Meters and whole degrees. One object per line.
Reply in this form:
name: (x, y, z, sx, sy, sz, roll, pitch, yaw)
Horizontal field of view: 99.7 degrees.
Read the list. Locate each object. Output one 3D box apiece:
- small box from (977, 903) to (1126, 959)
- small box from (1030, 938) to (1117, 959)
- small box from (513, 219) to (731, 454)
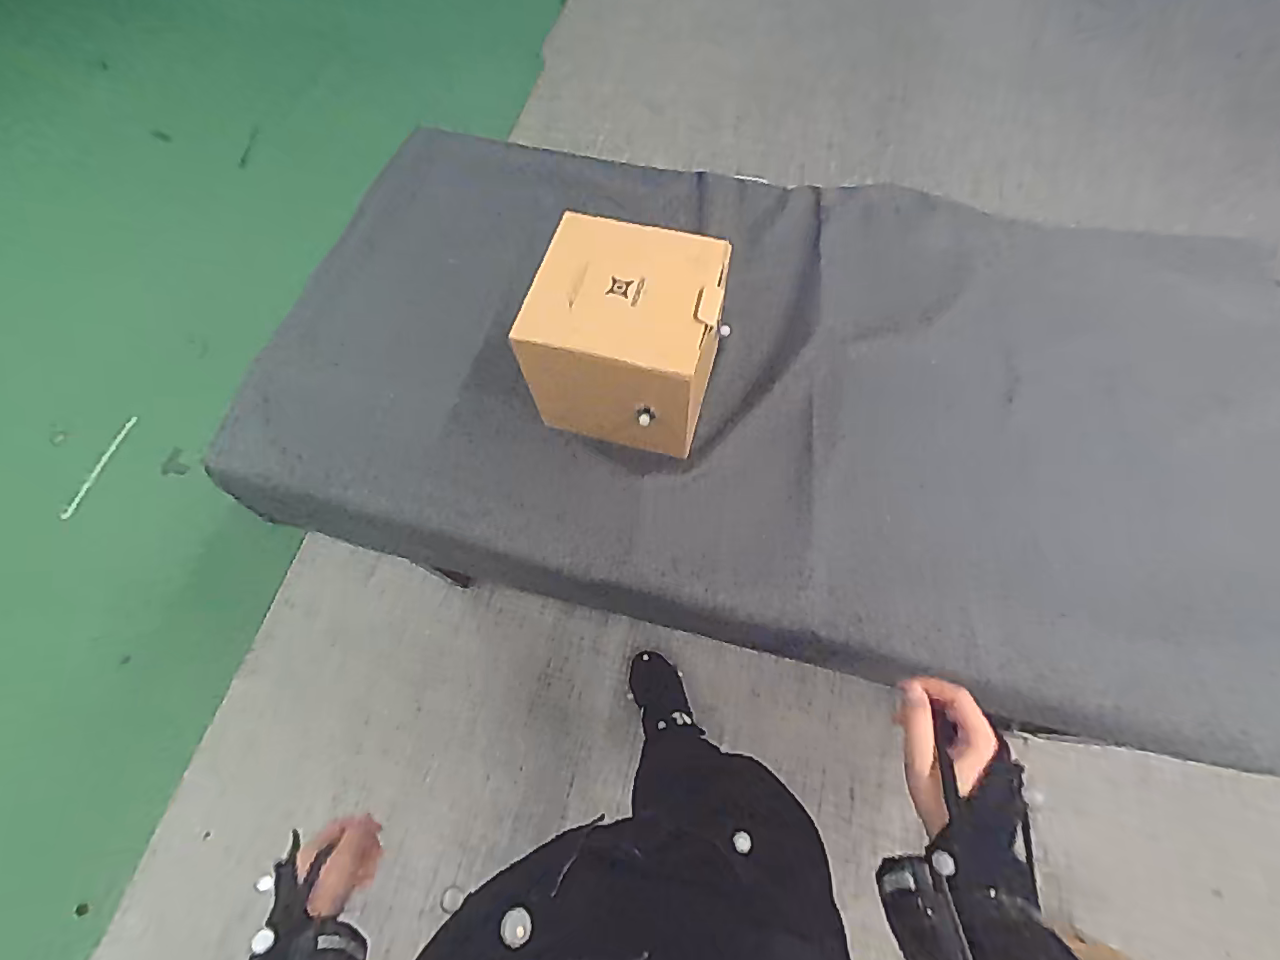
small box: (0.706, 0.859, 0.916, 0.179, 0.176, 0.168, 14, 68, 9)
small box: (0.686, 0.794, 0.765, 0.179, 0.176, 0.168, 12, 68, 7)
small box: (-0.011, -0.146, 0.588, 0.179, 0.176, 0.168, 13, 67, 8)
